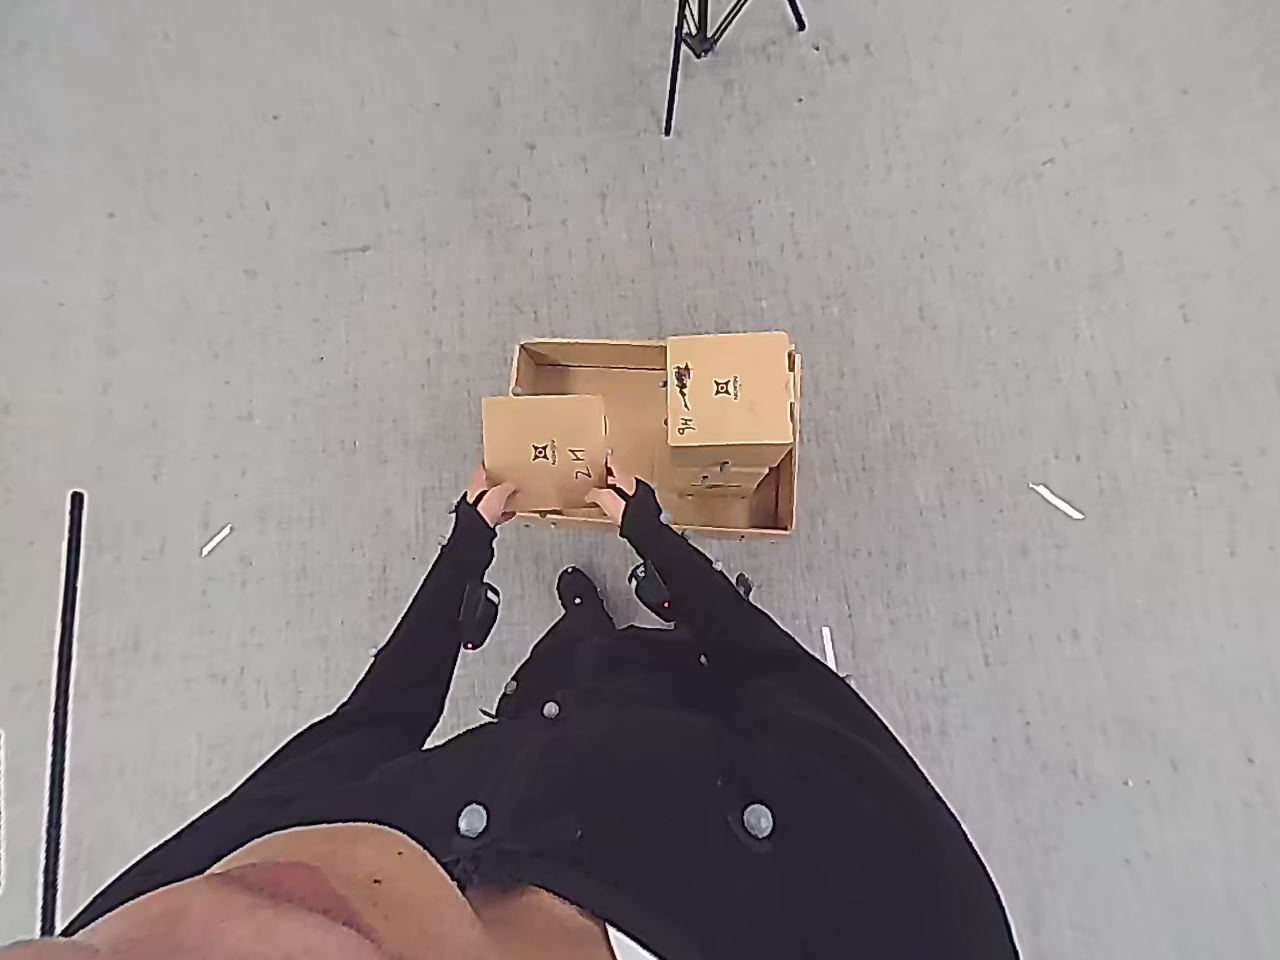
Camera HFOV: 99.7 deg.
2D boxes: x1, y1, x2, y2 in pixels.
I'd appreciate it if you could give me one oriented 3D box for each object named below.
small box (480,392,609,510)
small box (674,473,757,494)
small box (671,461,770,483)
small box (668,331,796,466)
[{"bbox_3d":[-0.140,-0.044,0.836,0.179,0.176,0.168,-2,94,-7],"label":"small box"},{"bbox_3d":[0.160,-0.064,1.149,0.168,0.176,0.179,1,81,6],"label":"small box"},{"bbox_3d":[0.146,-0.090,0.990,0.168,0.176,0.179,1,81,6],"label":"small box"},{"bbox_3d":[0.132,-0.117,0.829,0.179,0.176,0.168,0,81,5],"label":"small box"}]
